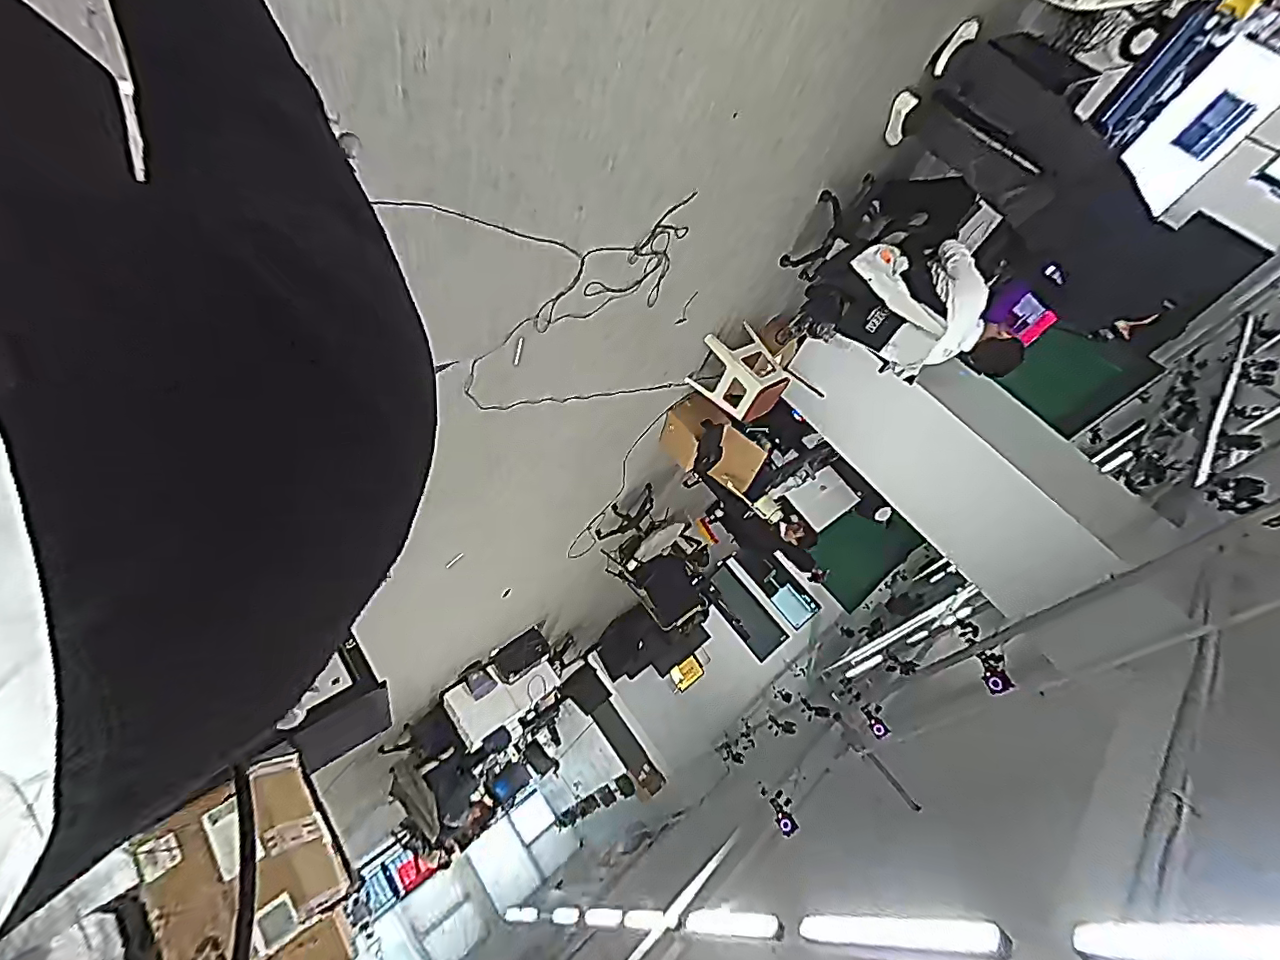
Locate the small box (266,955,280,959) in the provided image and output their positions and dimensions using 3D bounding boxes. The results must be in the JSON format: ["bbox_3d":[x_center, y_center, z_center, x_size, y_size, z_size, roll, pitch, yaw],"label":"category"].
[{"bbox_3d":[-1.194,1.616,1.660,0.168,0.176,0.179,-25,157,-31],"label":"small box"}]

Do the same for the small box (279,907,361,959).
[{"bbox_3d":[-1.045,1.544,1.771,0.168,0.176,0.179,-28,160,-30],"label":"small box"}]
